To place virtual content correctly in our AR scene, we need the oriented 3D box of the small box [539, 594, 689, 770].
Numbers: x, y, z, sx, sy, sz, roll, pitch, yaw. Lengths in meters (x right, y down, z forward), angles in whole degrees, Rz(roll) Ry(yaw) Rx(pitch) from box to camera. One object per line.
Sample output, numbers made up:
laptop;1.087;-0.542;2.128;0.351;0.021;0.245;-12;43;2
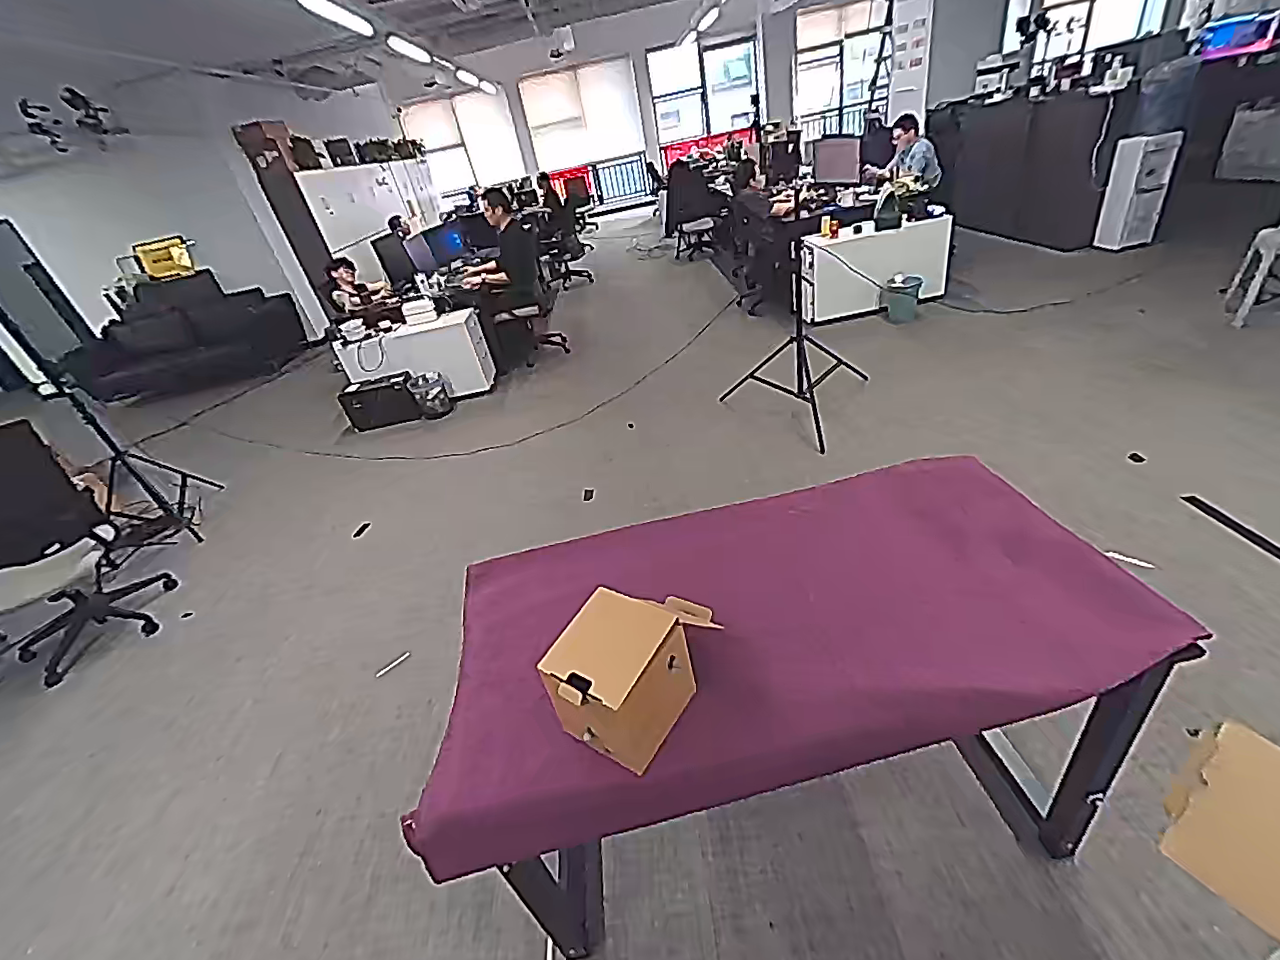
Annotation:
small box;-0.033;0.326;0.889;0.168;0.176;0.179;12;39;36
